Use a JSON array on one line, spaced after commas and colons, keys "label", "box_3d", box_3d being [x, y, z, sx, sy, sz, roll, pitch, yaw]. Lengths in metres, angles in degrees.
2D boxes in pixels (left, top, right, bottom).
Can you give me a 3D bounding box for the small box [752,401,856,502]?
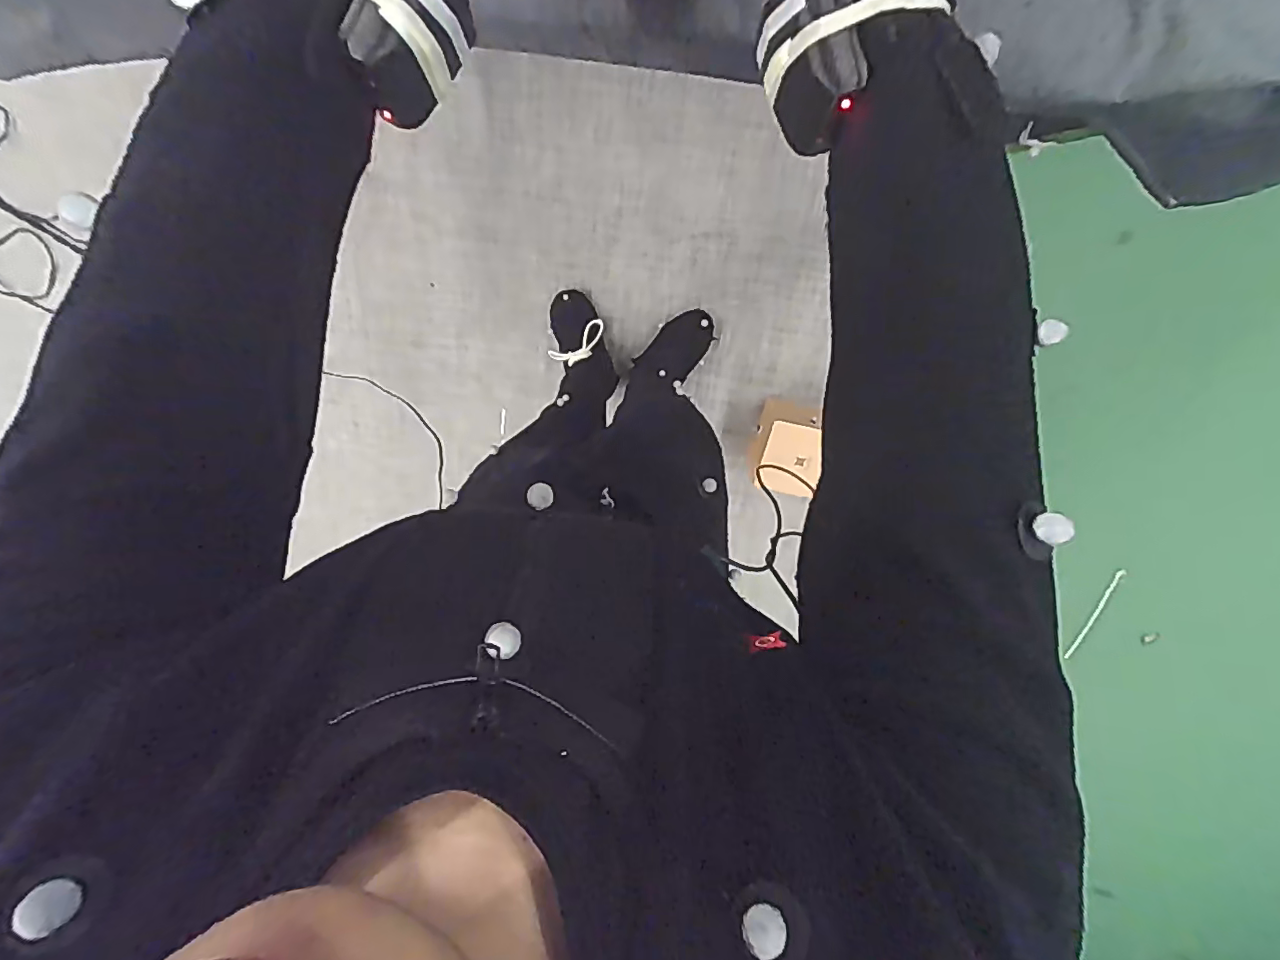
[{"label": "small box", "box_3d": [0.370, -0.072, 1.256, 0.179, 0.176, 0.168, 12, 116, 1]}]
